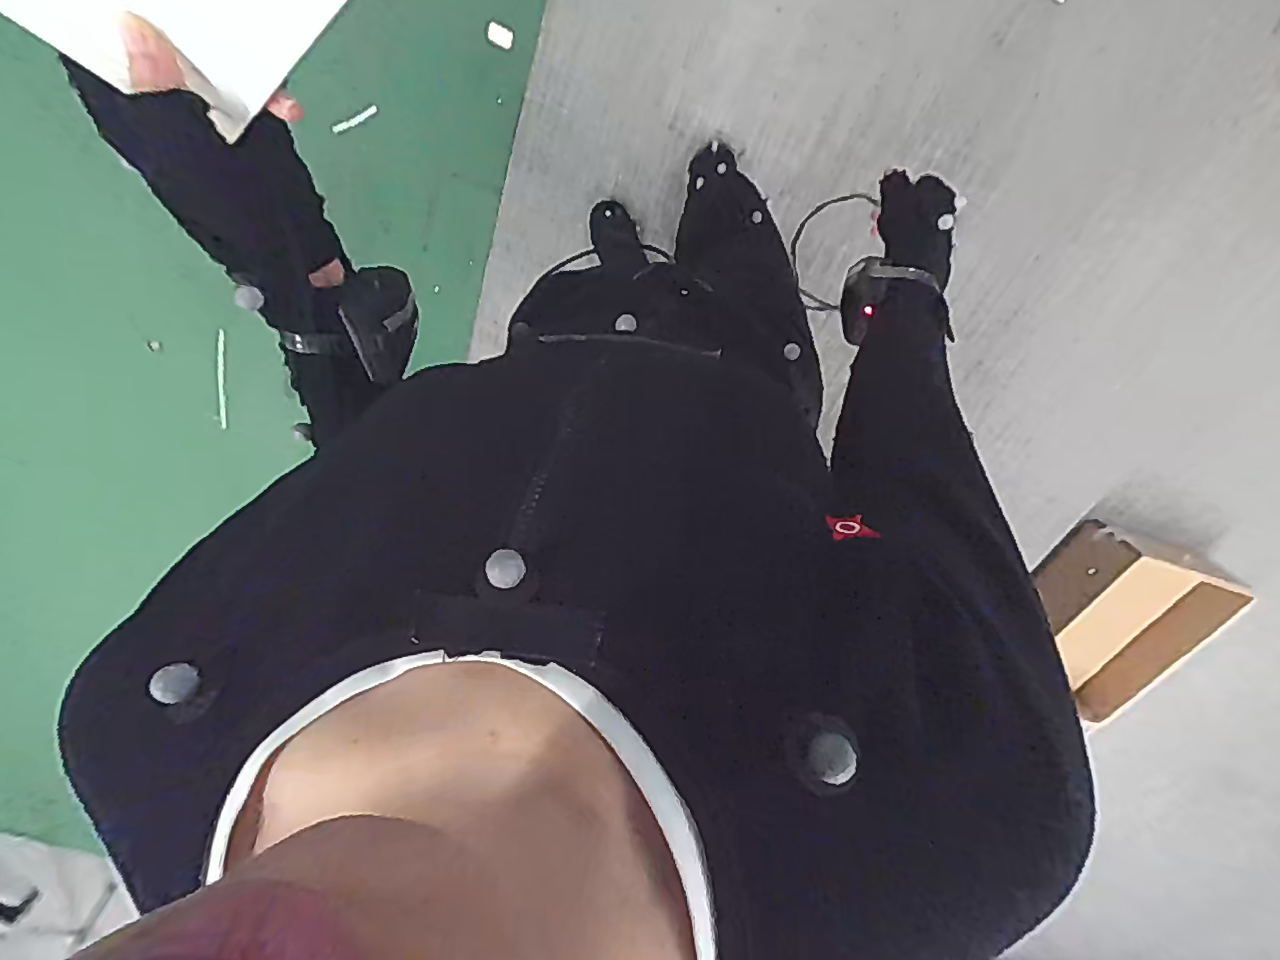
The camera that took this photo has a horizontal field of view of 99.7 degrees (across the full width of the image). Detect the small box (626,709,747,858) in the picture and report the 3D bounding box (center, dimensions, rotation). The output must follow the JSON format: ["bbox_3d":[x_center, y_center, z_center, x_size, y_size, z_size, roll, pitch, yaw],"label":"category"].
[{"bbox_3d":[0.079,0.559,1.005,0.168,0.176,0.179,18,121,-7],"label":"small box"}]
